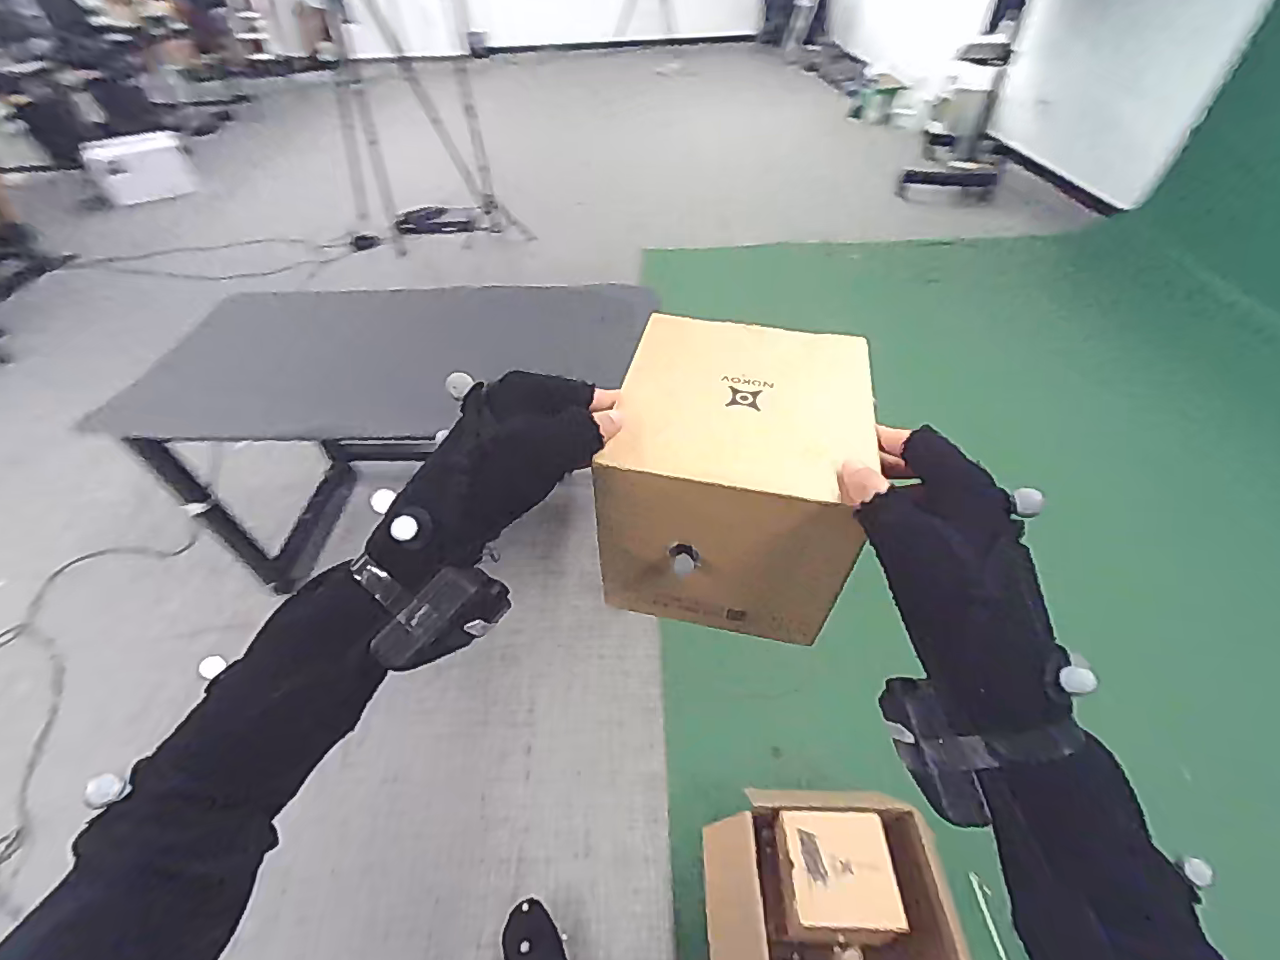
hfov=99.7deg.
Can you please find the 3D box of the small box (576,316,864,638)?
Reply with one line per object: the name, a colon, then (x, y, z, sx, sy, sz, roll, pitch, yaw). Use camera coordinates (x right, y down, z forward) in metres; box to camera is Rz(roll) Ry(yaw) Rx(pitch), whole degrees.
small box: (0.060, -0.002, 0.415, 0.168, 0.176, 0.179, 8, 47, 8)
